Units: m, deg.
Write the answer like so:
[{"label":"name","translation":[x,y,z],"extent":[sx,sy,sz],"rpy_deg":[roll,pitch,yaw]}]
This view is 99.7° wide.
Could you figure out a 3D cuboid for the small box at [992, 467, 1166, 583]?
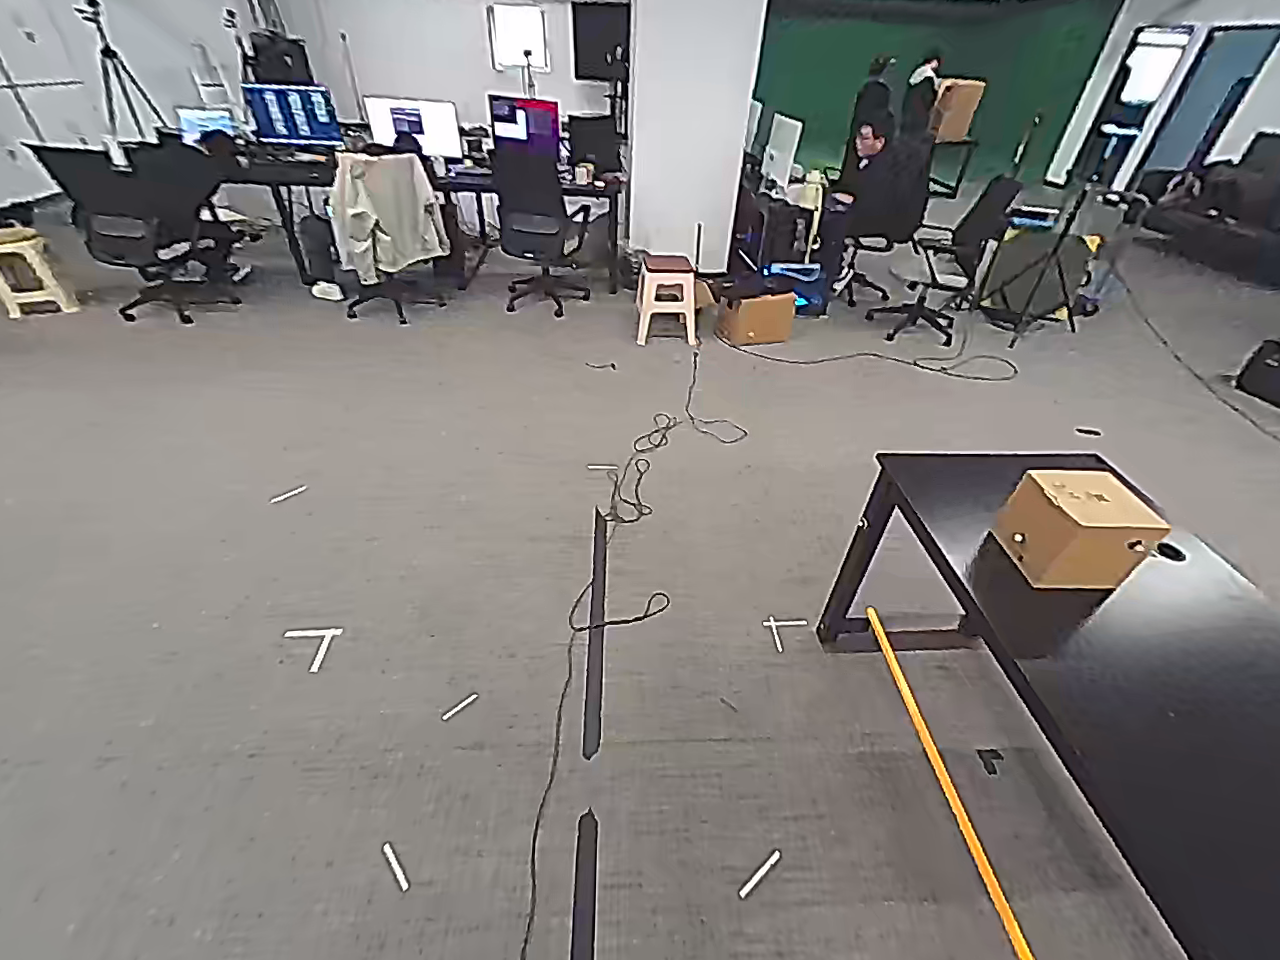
[{"label":"small box","translation":[0.853,0.091,1.073],"extent":[0.179,0.176,0.168],"rpy_deg":[1,38,-3]}]
